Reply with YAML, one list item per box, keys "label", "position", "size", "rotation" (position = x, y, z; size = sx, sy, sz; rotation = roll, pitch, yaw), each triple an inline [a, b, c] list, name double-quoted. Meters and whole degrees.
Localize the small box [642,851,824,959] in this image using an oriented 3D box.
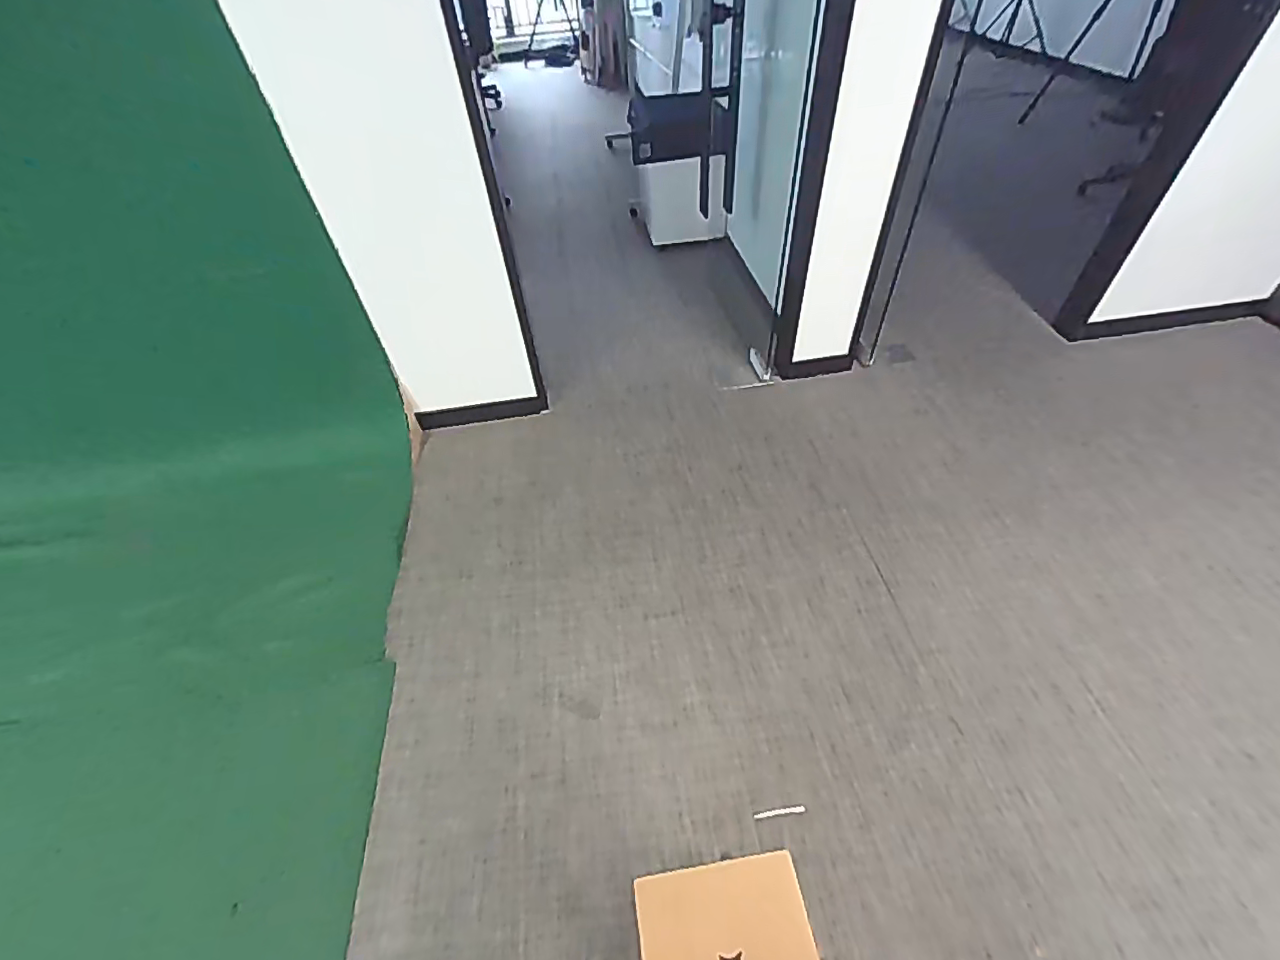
- label: "small box"
  position: [0.095, 0.514, 0.560]
  size: [0.168, 0.176, 0.179]
  rotation: [-9, 48, -3]
